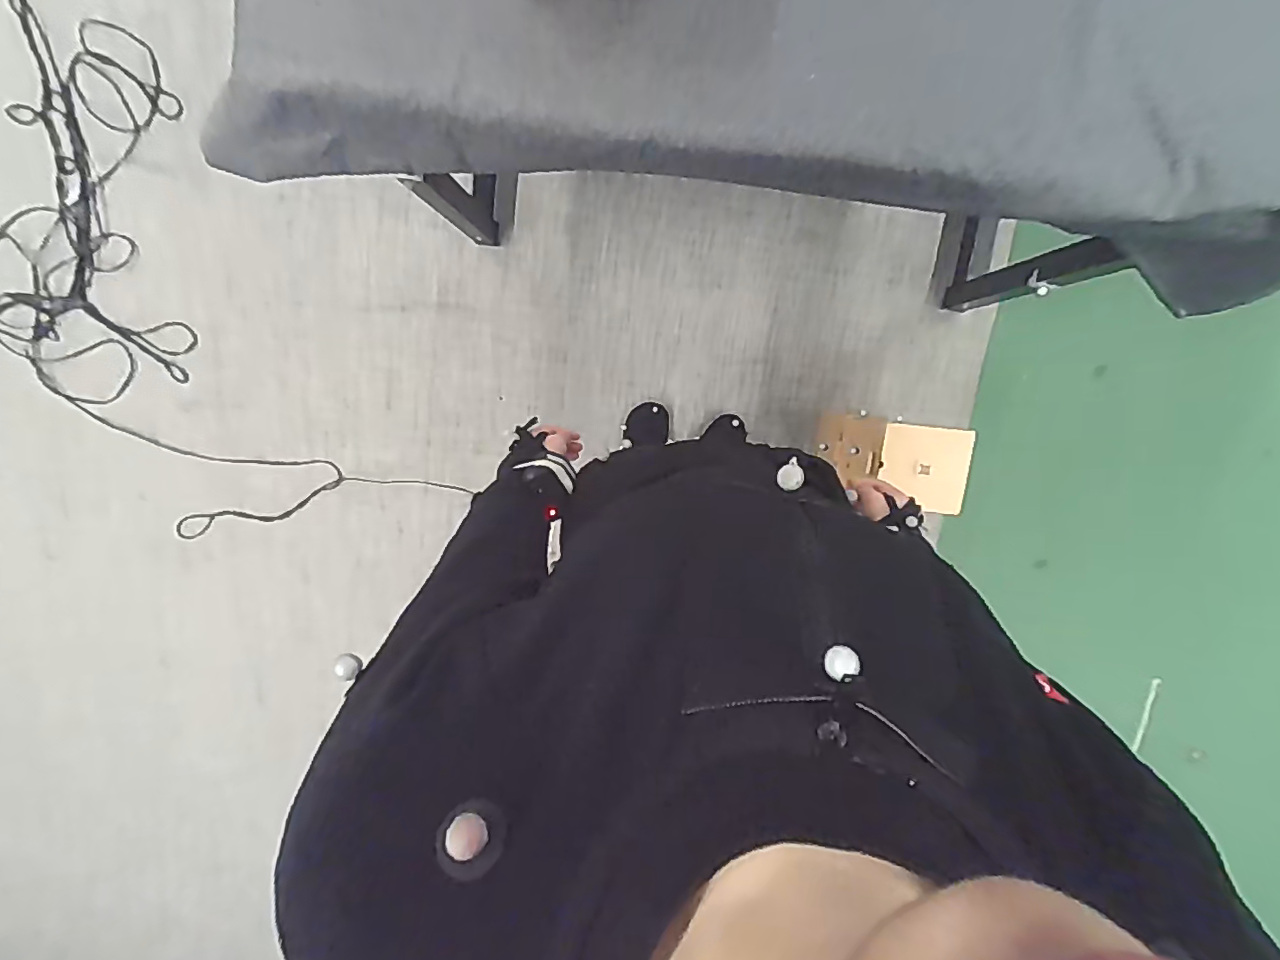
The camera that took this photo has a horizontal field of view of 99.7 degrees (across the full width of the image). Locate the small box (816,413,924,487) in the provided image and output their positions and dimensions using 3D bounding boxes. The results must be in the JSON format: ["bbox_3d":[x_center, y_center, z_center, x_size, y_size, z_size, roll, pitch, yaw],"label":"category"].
[{"bbox_3d":[0.530,-0.064,1.268,0.179,0.176,0.168,7,98,0],"label":"small box"}]

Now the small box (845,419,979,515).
[{"bbox_3d":[0.545,-0.034,1.106,0.179,0.176,0.168,5,99,0],"label":"small box"}]
